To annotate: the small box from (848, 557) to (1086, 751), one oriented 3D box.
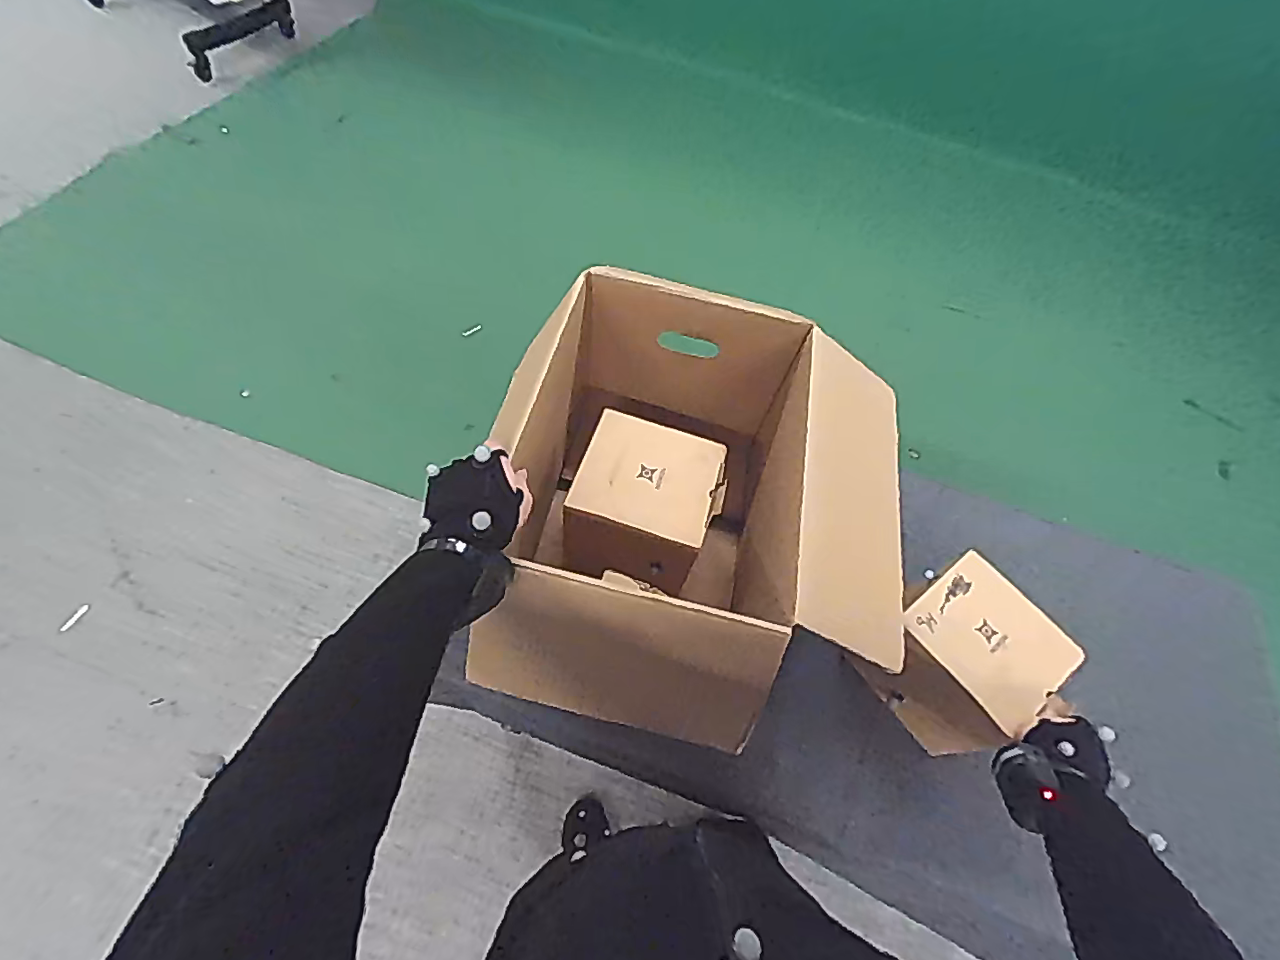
[{"bbox_3d":[0.424,0.239,0.730,0.168,0.176,0.179,-30,68,-20],"label":"small box"}]
